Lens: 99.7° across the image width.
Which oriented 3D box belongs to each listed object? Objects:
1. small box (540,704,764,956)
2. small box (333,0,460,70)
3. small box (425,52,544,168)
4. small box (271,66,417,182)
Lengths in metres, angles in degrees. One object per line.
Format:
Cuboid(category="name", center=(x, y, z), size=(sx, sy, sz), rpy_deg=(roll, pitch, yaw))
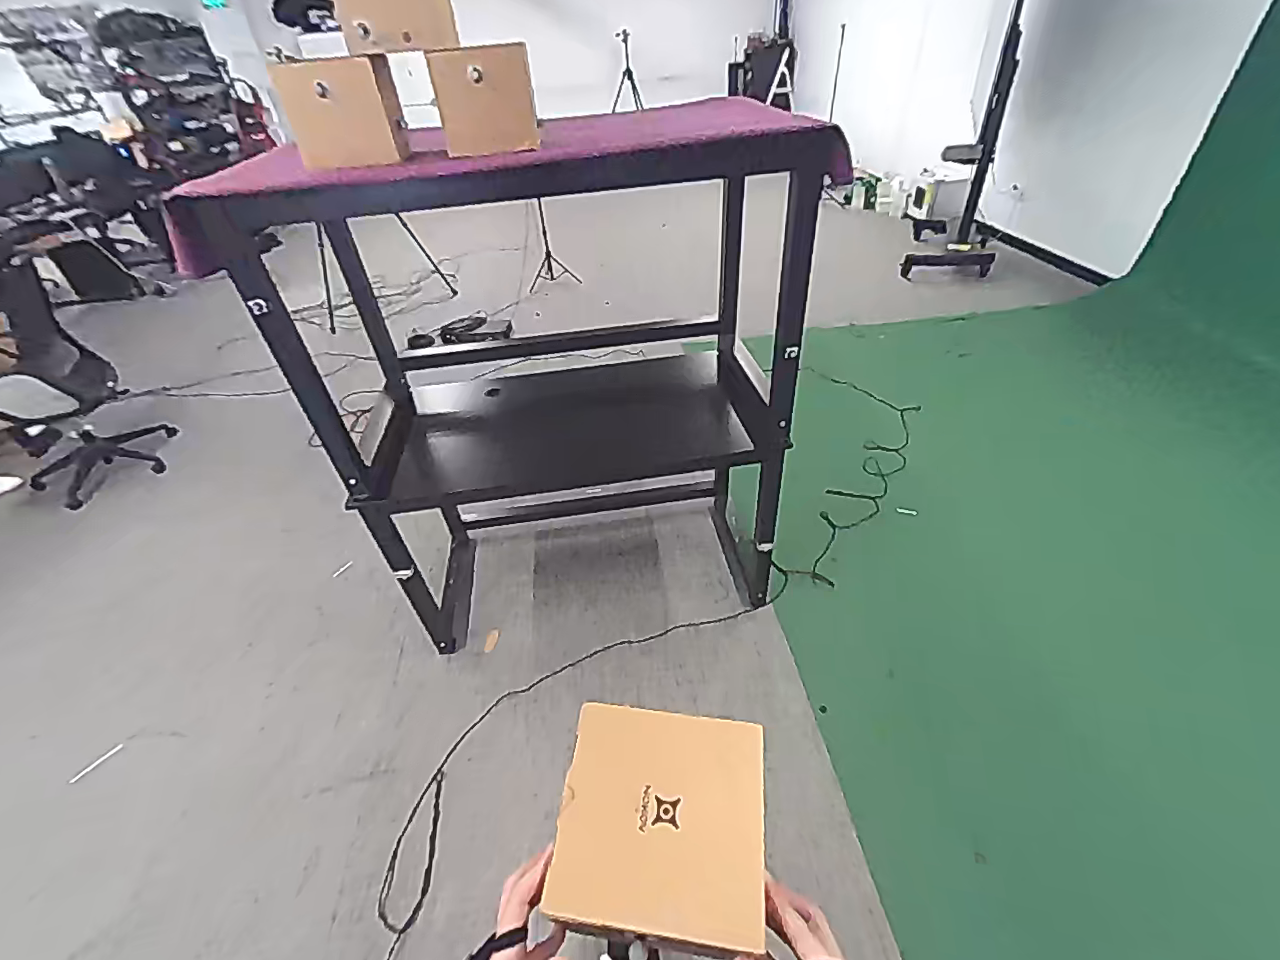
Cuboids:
Cuboid(category="small box", center=(0.023, 0.338, 0.524), size=(0.179, 0.176, 0.168), rpy_deg=(3, 48, 9))
Cuboid(category="small box", center=(-0.430, -0.839, 0.957), size=(0.168, 0.176, 0.179), rpy_deg=(-6, 39, -2))
Cuboid(category="small box", center=(-0.293, -0.721, 1.056), size=(0.179, 0.176, 0.168), rpy_deg=(-8, 39, -3))
Cuboid(category="small box", center=(-0.559, -0.690, 1.048), size=(0.179, 0.176, 0.168), rpy_deg=(-9, 40, -5))
